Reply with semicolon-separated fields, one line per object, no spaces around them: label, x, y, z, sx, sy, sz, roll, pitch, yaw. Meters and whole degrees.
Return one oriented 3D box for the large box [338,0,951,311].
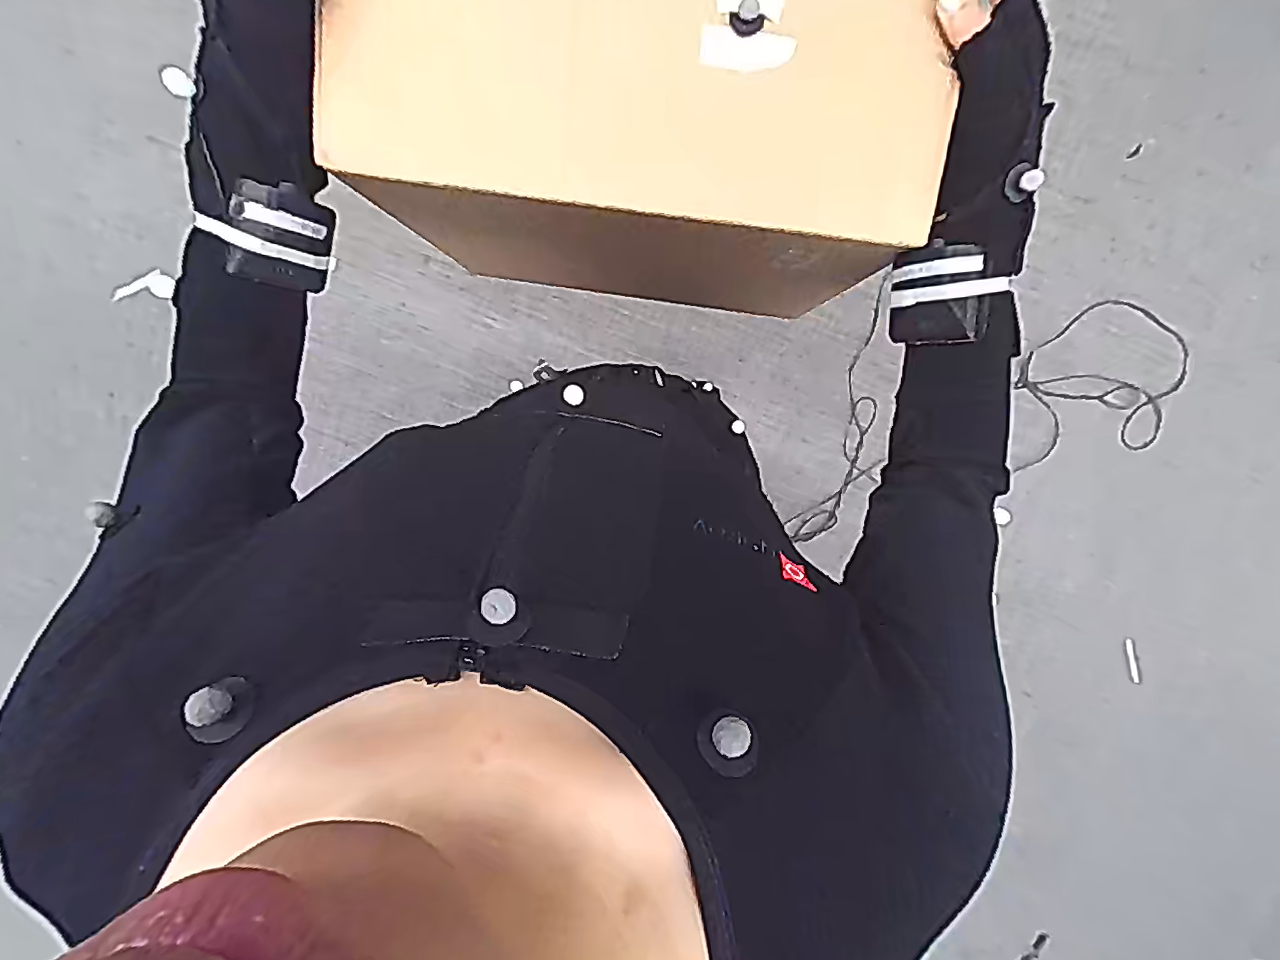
large box;0.007;-0.358;0.498;0.408;0.320;0.320;7;98;0
